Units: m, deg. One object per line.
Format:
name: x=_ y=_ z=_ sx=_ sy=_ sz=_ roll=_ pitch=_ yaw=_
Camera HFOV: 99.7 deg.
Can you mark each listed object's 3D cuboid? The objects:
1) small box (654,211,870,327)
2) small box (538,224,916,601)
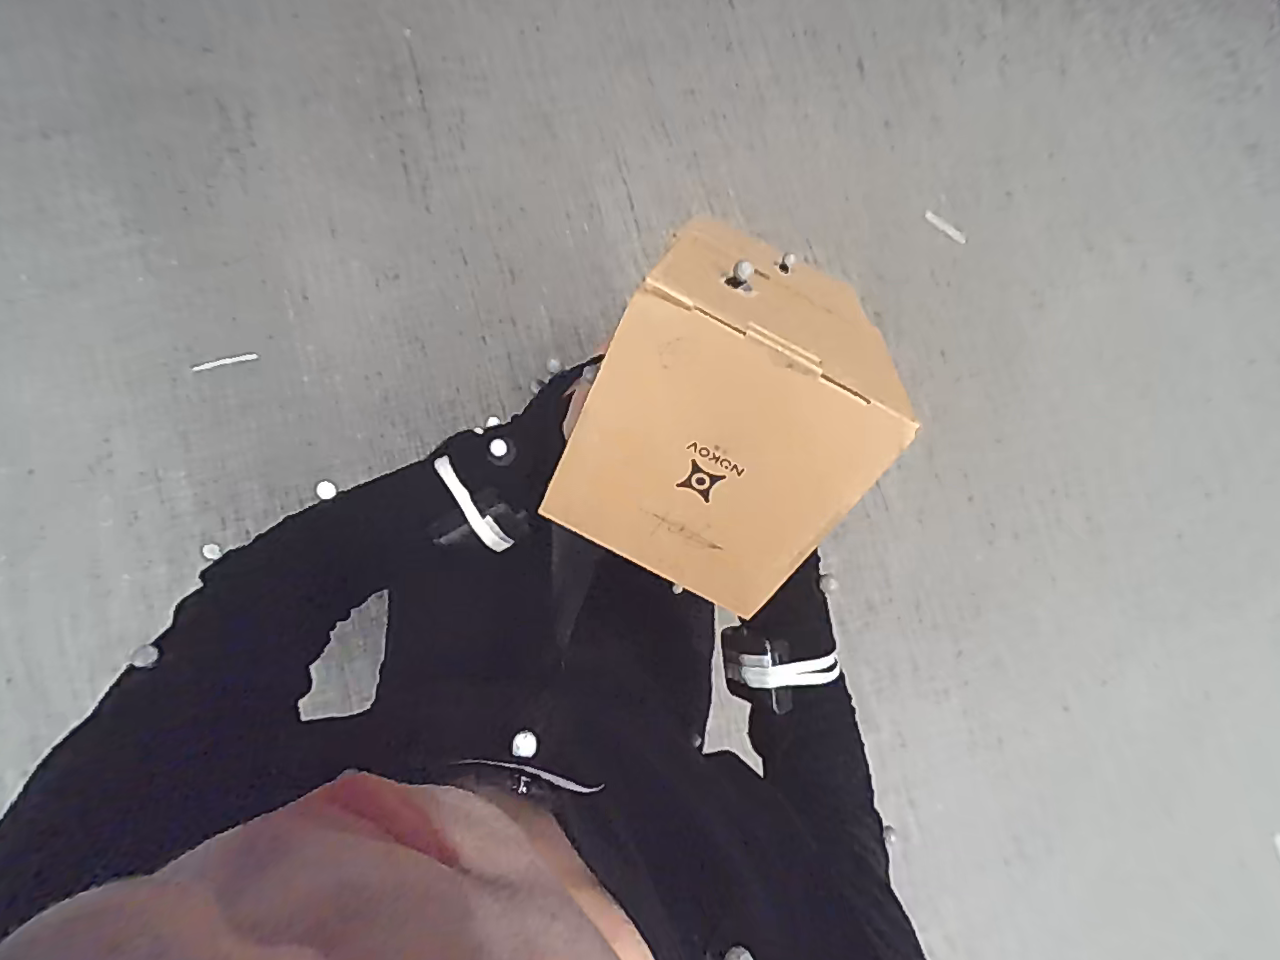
small box: x=0.086 y=-0.141 z=0.522 sx=0.179 sy=0.176 sz=0.168 roll=25 pitch=124 yaw=-2
small box: x=0.054 y=-0.057 z=0.385 sx=0.168 sy=0.176 sz=0.179 roll=28 pitch=125 yaw=-3
